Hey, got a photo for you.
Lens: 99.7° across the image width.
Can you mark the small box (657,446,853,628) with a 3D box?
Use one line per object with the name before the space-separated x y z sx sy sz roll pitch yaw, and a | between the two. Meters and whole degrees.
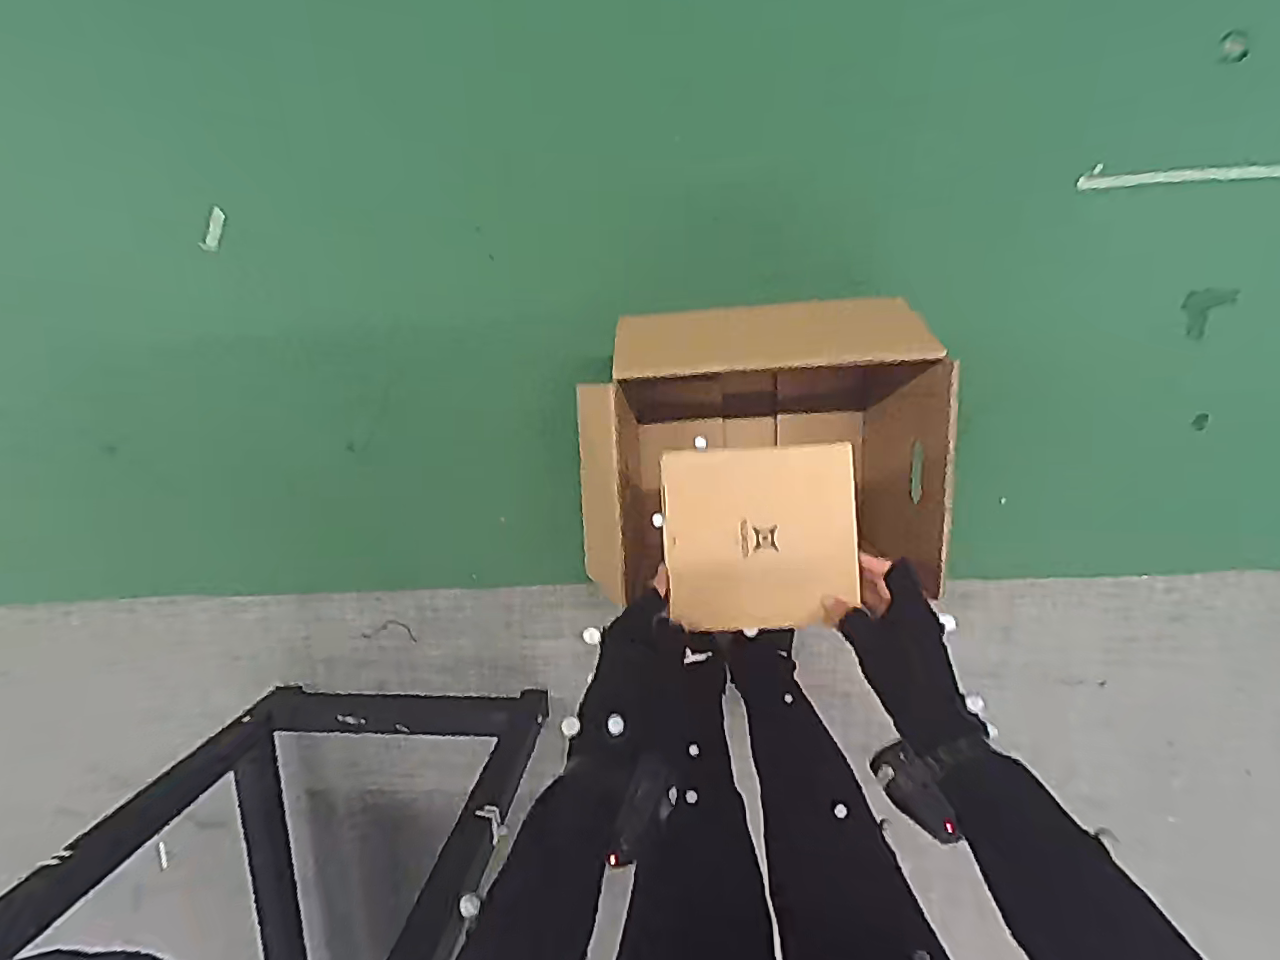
small box | 0.109 0.052 0.577 0.179 0.176 0.168 -3 90 4
